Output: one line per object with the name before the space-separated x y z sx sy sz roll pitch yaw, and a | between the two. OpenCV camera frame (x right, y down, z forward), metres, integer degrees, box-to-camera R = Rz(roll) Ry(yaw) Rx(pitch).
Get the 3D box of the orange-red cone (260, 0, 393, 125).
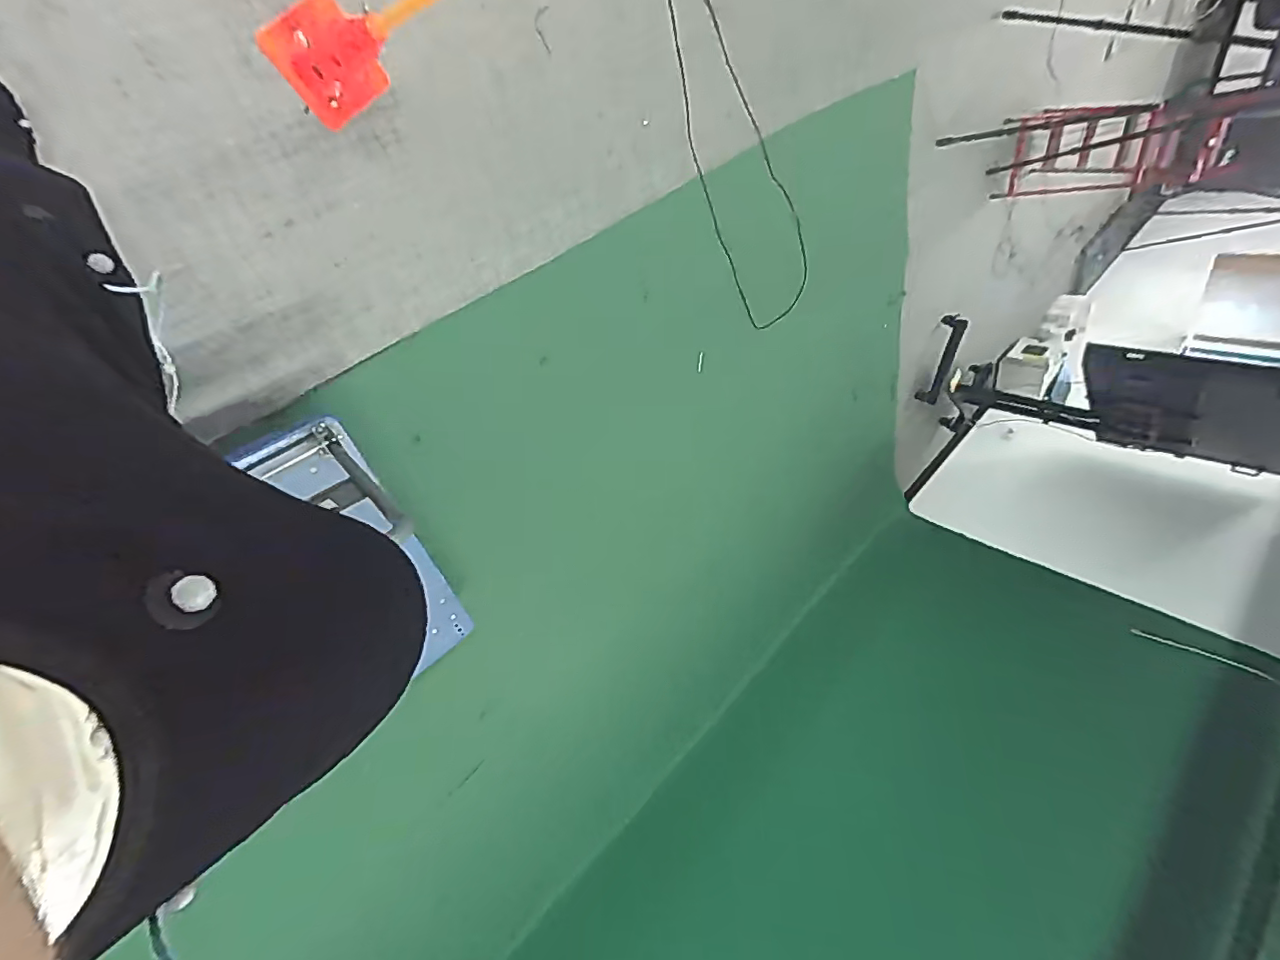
orange-red cone | -0.585 -0.883 1.097 0.199 0.360 0.198 -51 137 -14
